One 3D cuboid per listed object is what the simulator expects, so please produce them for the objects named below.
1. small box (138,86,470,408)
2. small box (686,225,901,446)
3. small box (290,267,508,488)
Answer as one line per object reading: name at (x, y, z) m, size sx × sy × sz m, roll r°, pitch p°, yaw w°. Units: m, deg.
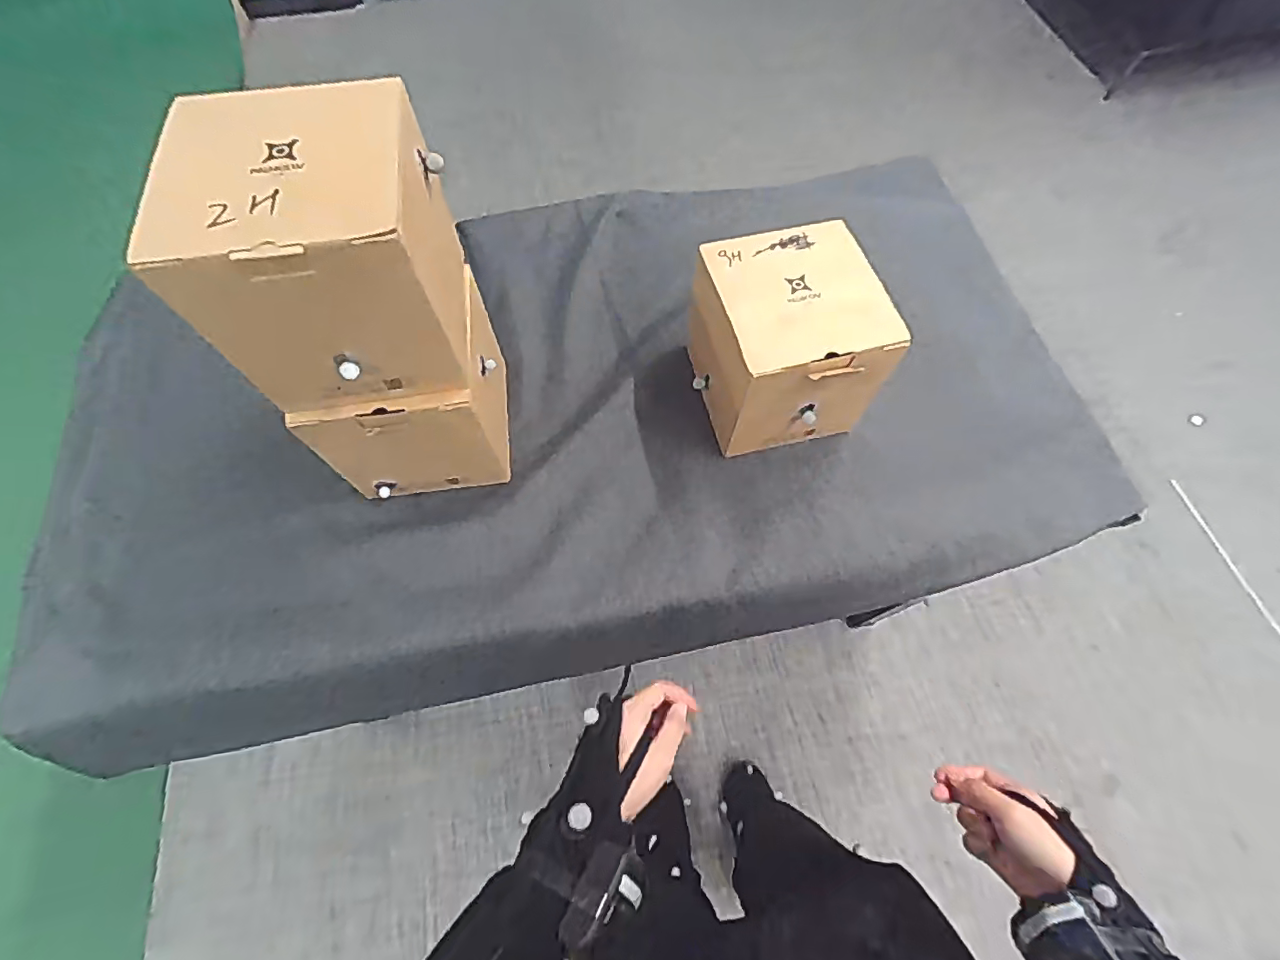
small box at (-0.248, -0.185, 0.452) m, size 0.168 × 0.176 × 0.179 m, roll -9°, pitch 65°, yaw -4°
small box at (0.157, -0.153, 0.622) m, size 0.168 × 0.176 × 0.179 m, roll -12°, pitch 66°, yaw -6°
small box at (-0.244, -0.101, 0.595) m, size 0.168 × 0.176 × 0.179 m, roll -7°, pitch 64°, yaw -4°
